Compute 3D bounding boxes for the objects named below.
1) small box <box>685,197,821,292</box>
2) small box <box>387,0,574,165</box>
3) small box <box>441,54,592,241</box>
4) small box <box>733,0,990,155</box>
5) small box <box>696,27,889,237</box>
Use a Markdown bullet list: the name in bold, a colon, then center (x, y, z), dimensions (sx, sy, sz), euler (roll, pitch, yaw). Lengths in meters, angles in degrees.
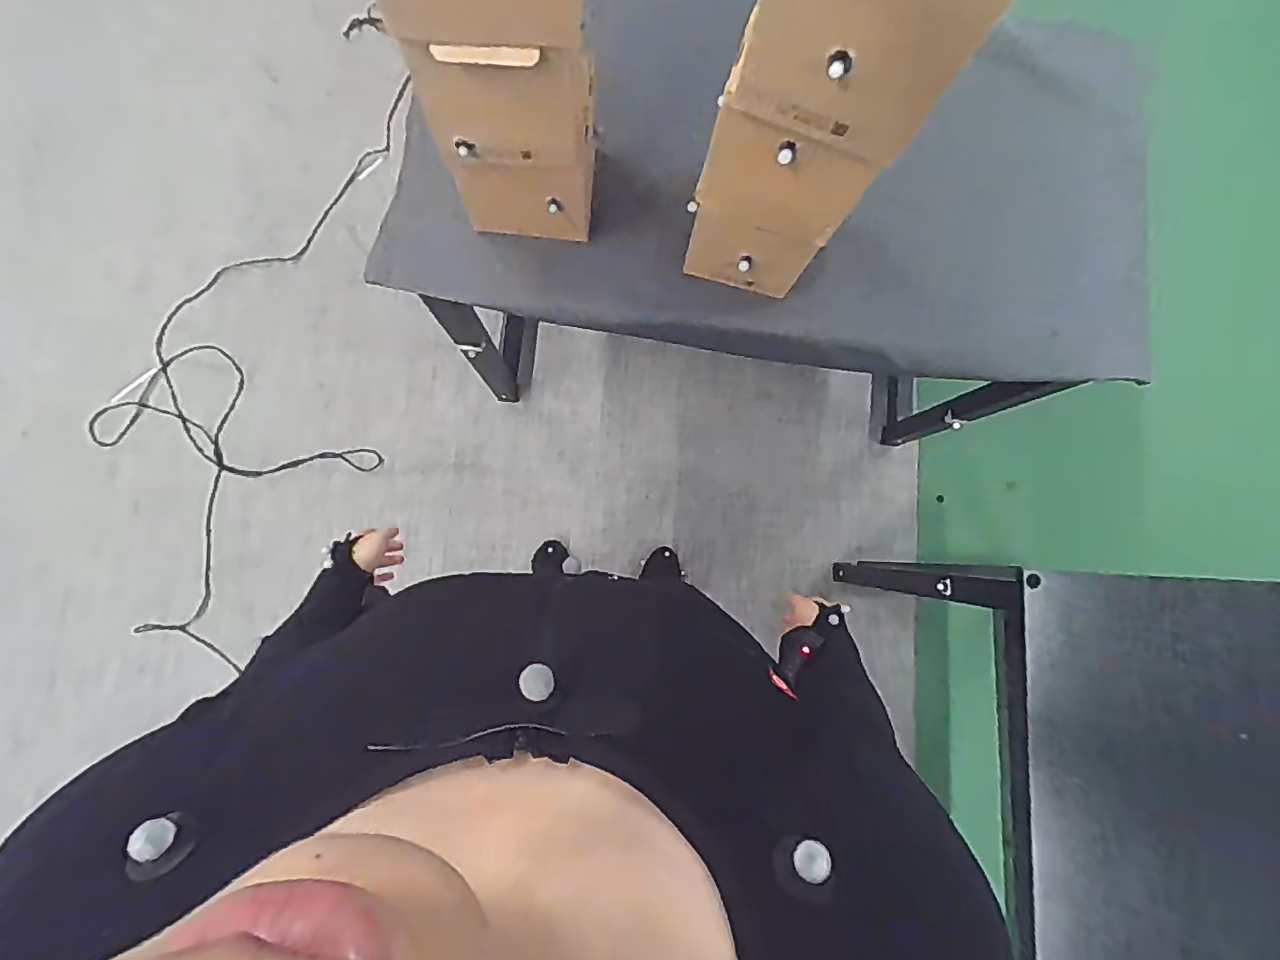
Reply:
- **small box**: center (0.166, -0.396, 0.771), dimensions (0.168, 0.176, 0.179), euler (14, 83, -1)
- **small box**: center (-0.160, -0.482, 0.597), dimensions (0.168, 0.176, 0.179), euler (0, 81, -4)
- **small box**: center (-0.160, -0.461, 0.760), dimensions (0.179, 0.176, 0.168), euler (3, 81, -2)
- **small box**: center (0.188, -0.415, 0.443), dimensions (0.168, 0.176, 0.179), euler (20, 82, 0)
- **small box**: center (0.178, -0.407, 0.608), dimensions (0.179, 0.176, 0.168), euler (19, 82, 0)
